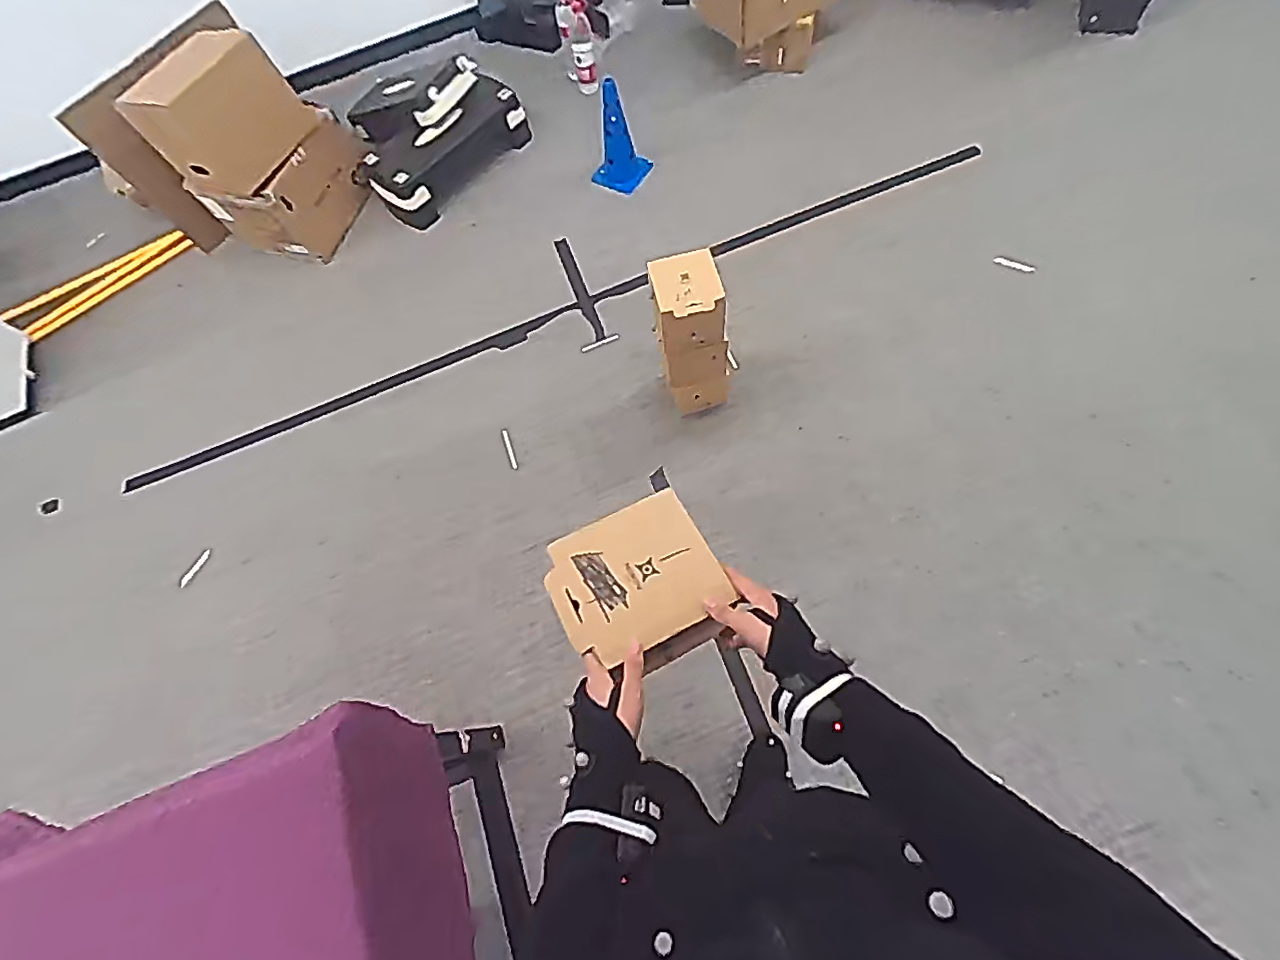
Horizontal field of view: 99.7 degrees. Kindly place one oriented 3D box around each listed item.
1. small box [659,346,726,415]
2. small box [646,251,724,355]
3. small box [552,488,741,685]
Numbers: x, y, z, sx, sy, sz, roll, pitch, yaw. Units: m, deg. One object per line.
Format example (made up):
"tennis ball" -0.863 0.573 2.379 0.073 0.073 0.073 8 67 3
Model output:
"small box" 0.170 -0.327 1.718 0.168 0.176 0.179 -18 66 -1
"small box" 0.117 -0.460 1.421 0.168 0.176 0.179 -13 67 1
"small box" 0.007 0.145 0.700 0.179 0.176 0.168 -24 64 -12
